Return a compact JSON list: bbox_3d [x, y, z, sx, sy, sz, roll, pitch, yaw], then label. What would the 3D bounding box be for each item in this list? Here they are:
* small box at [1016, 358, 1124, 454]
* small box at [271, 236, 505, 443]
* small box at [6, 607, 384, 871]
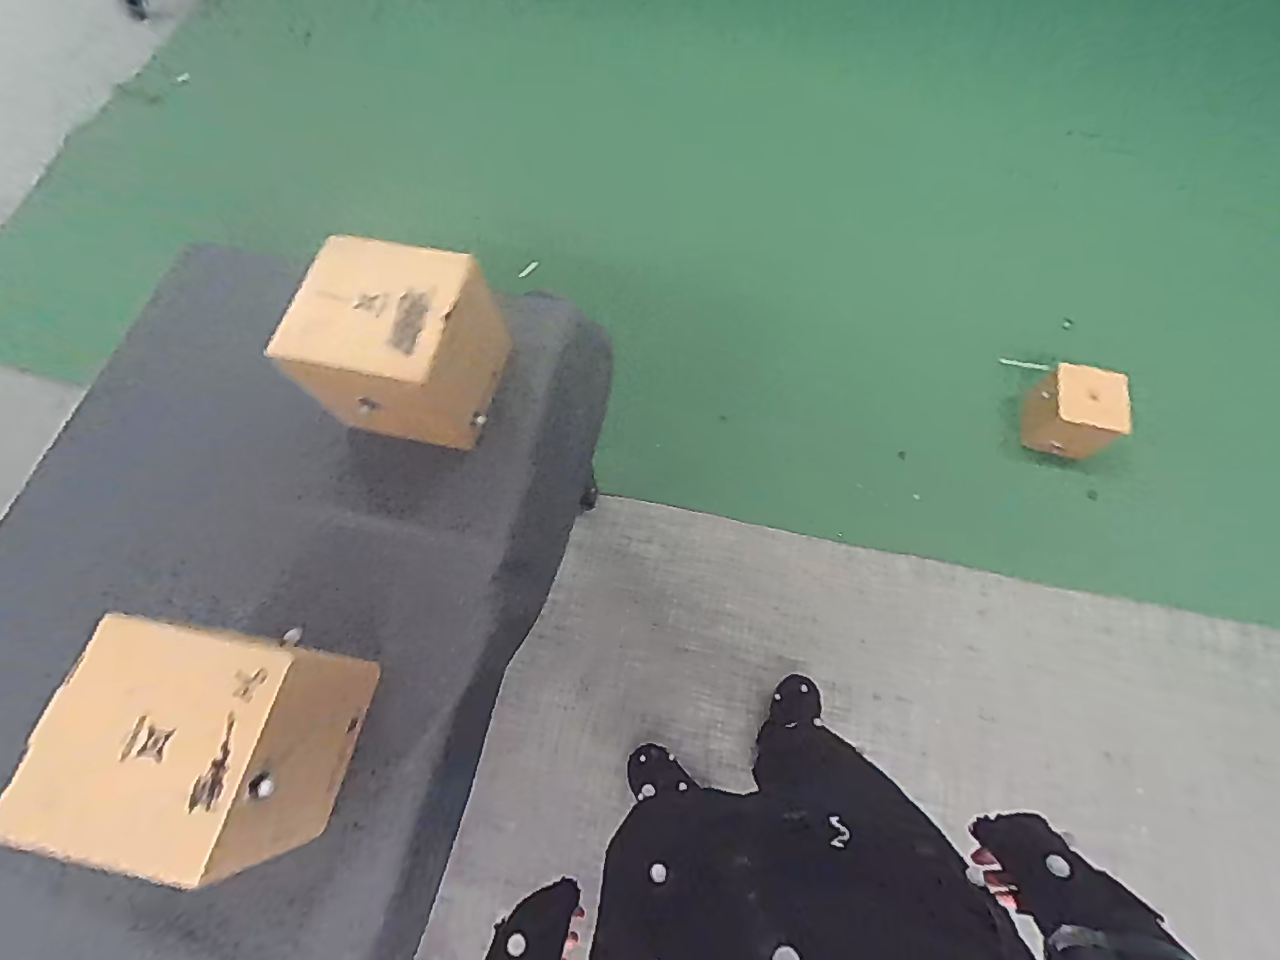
[{"bbox_3d":[1.141,-0.194,1.448,0.168,0.176,0.179,12,70,6],"label":"small box"},{"bbox_3d":[-0.283,-0.159,0.656,0.179,0.176,0.168,11,70,6],"label":"small box"},{"bbox_3d":[-0.383,0.229,0.507,0.179,0.176,0.168,10,69,5],"label":"small box"}]
